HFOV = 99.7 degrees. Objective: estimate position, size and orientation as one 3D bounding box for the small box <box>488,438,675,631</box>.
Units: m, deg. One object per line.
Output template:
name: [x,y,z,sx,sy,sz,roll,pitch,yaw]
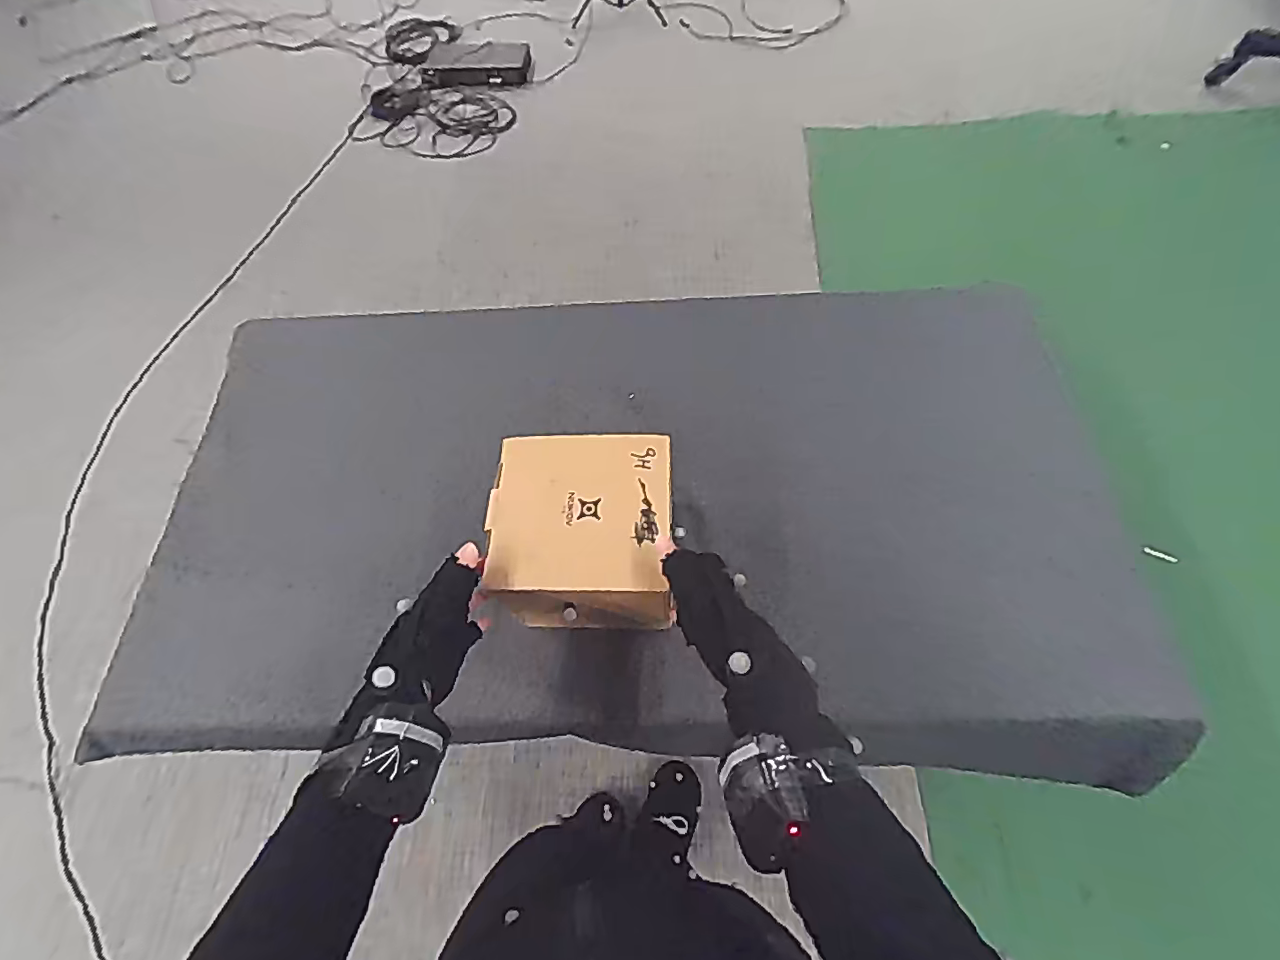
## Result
small box: [-0.052,0.069,0.608,0.179,0.176,0.168,-2,61,2]
